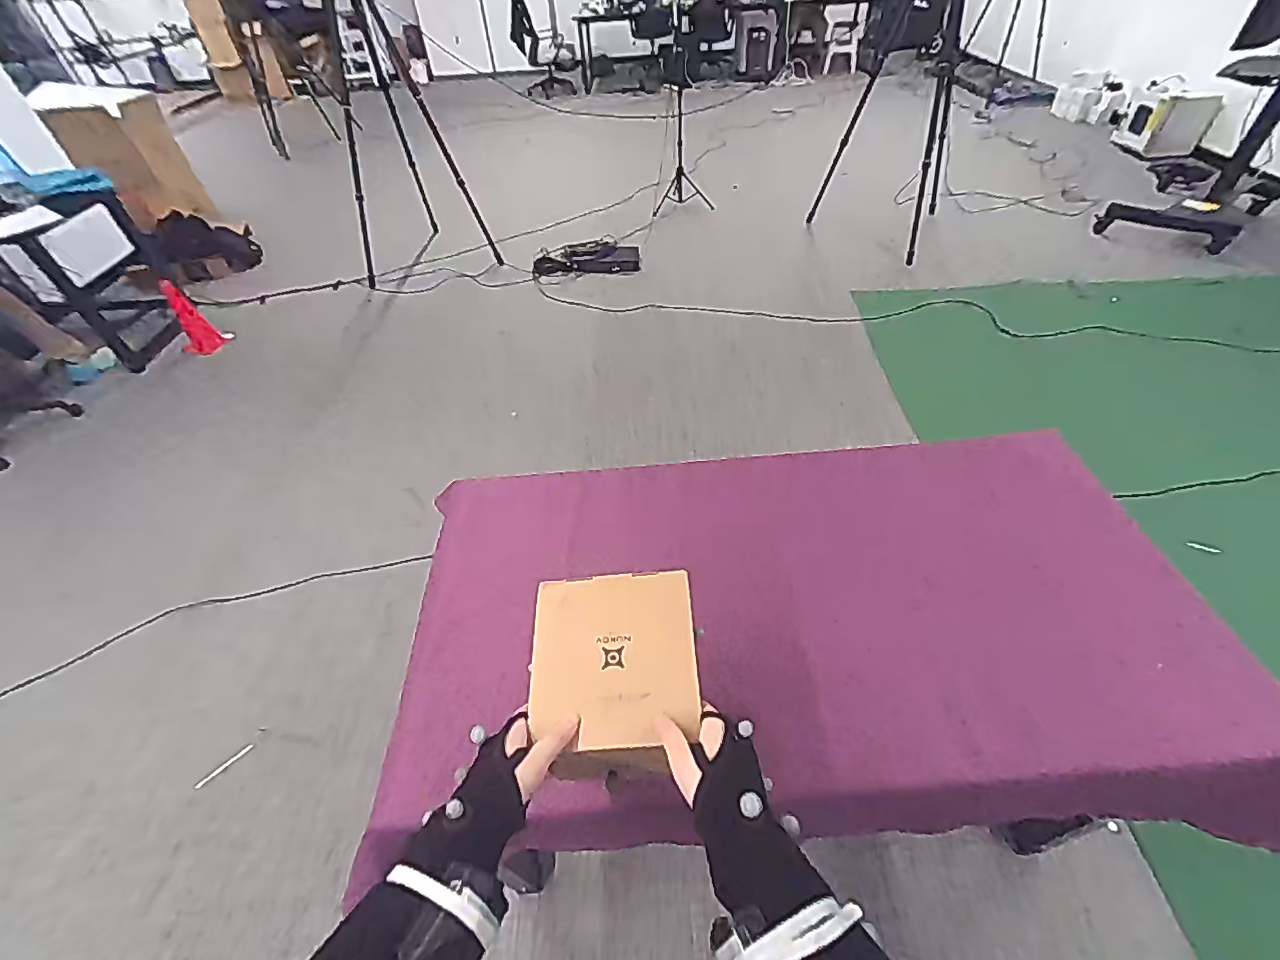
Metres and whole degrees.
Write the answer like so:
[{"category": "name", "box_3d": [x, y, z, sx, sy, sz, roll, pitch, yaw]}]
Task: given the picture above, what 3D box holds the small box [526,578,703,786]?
[{"category": "small box", "box_3d": [-0.019, 0.229, 0.606, 0.168, 0.176, 0.179, -4, 53, 4]}]
